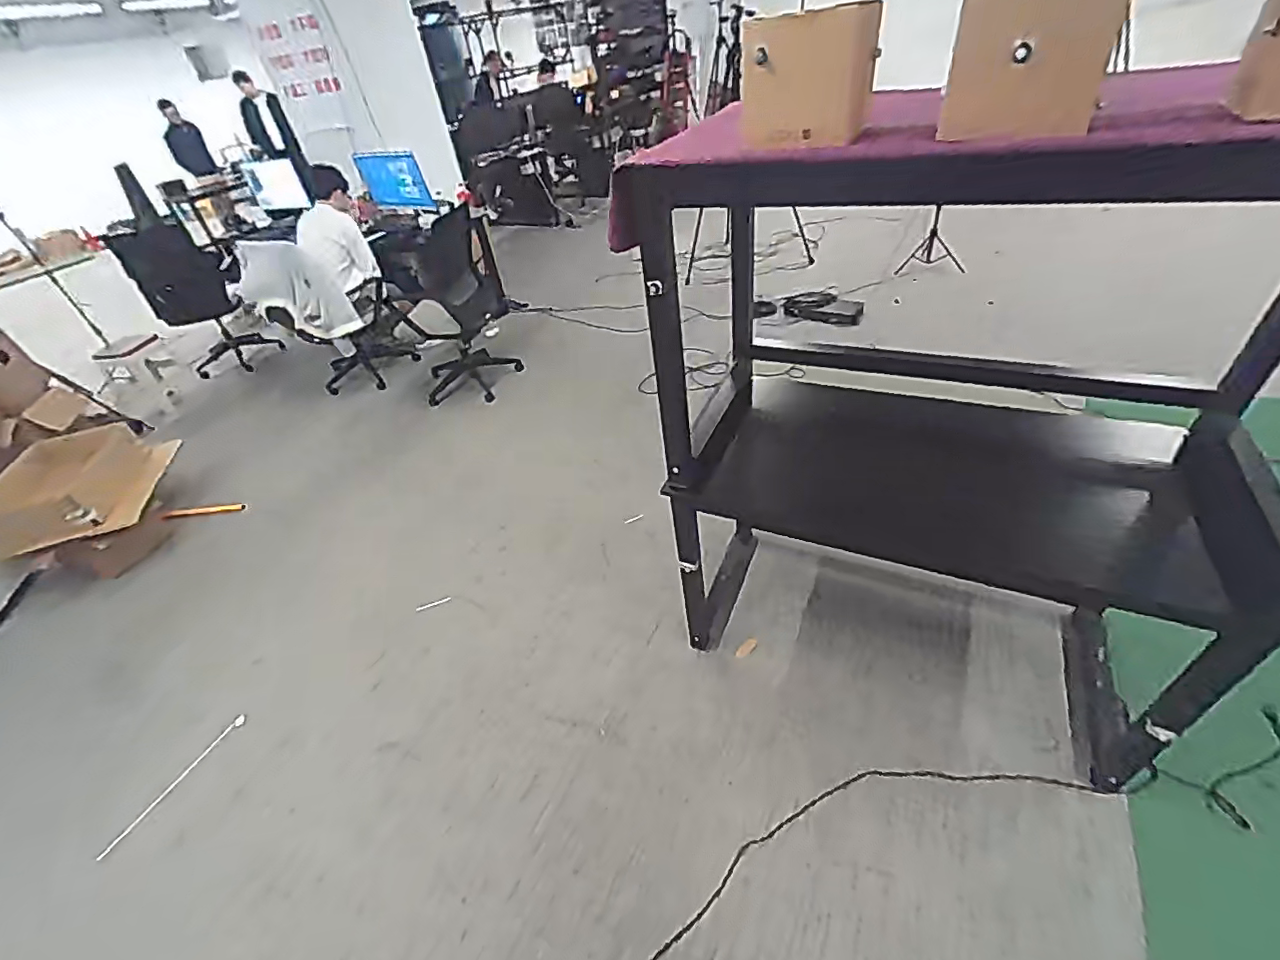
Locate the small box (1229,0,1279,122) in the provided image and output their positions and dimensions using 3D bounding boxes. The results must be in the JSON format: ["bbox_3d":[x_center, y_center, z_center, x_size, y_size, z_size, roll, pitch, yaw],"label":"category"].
[{"bbox_3d":[0.815,-0.513,0.601,0.179,0.176,0.168,15,45,28],"label":"small box"}]

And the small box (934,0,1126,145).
[{"bbox_3d":[0.521,-0.568,0.729,0.179,0.176,0.168,15,45,29],"label":"small box"}]
